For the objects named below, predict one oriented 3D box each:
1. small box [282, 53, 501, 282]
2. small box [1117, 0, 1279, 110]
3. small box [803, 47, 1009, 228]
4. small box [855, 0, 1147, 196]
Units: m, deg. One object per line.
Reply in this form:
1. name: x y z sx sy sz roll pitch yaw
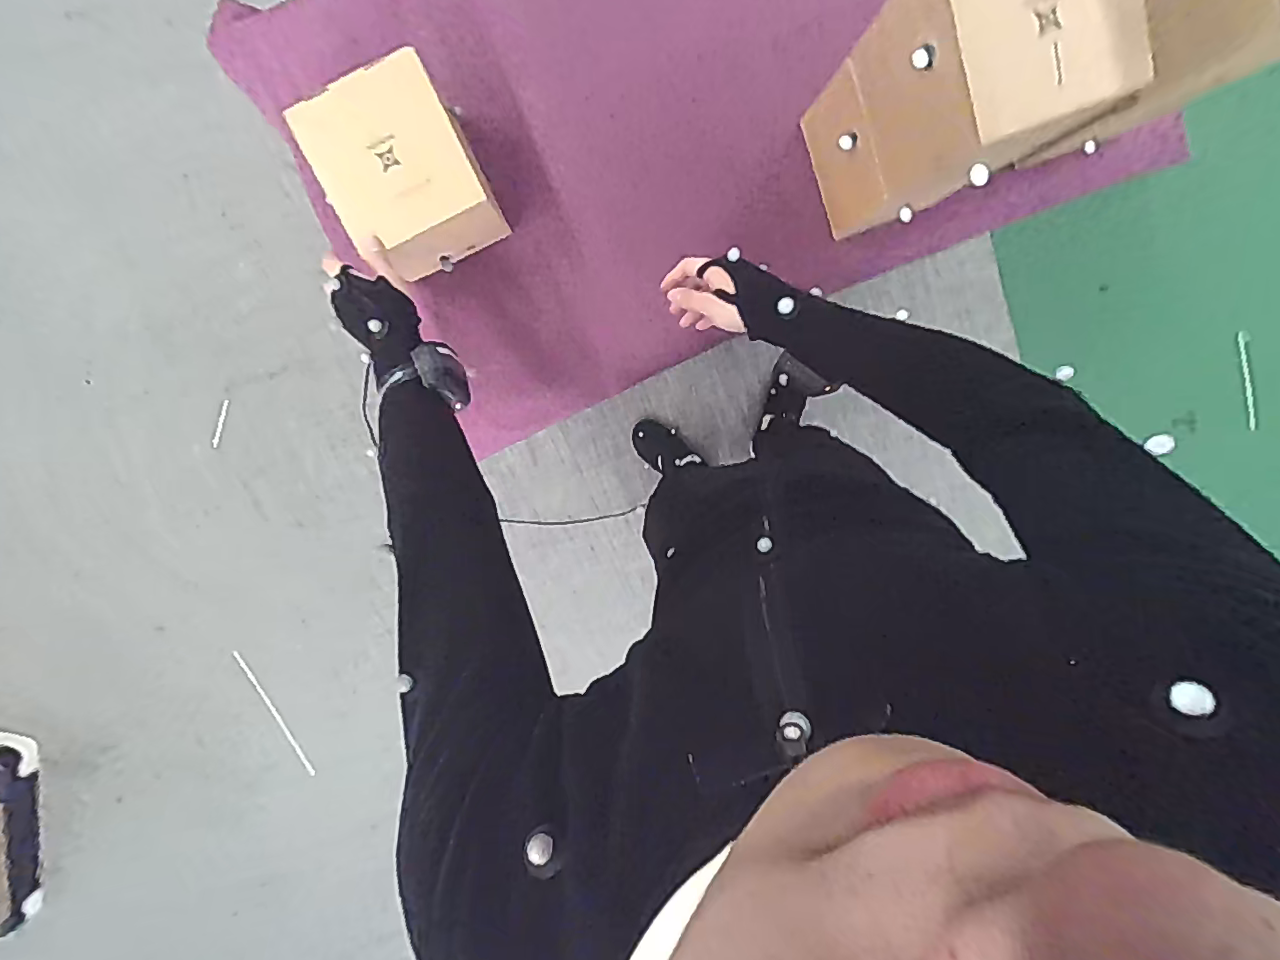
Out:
1. small box: -0.299 -0.381 0.694 0.168 0.176 0.179 -26 102 -1
2. small box: 0.610 -0.522 0.539 0.168 0.176 0.179 -18 100 2
3. small box: 0.337 -0.454 0.710 0.168 0.176 0.179 -21 100 1
4. small box: 0.344 -0.427 0.548 0.168 0.176 0.179 -20 101 2
